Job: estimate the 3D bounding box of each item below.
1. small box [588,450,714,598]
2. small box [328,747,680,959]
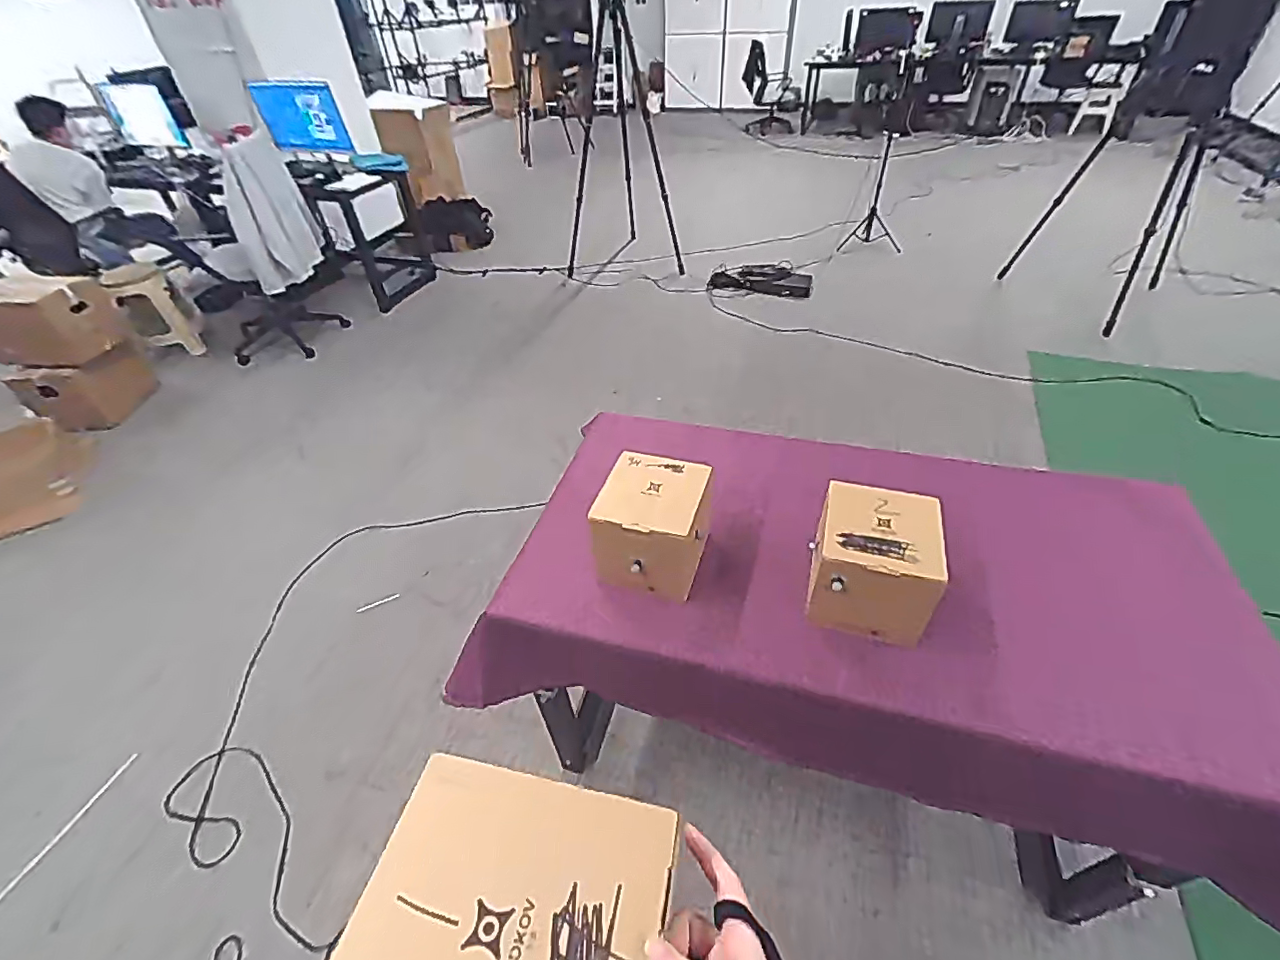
[{"bbox_3d":[0.026,0.077,0.940,0.168,0.176,0.179,13,45,15],"label":"small box"},{"bbox_3d":[-0.077,0.311,0.357,0.179,0.176,0.168,9,43,11],"label":"small box"}]
